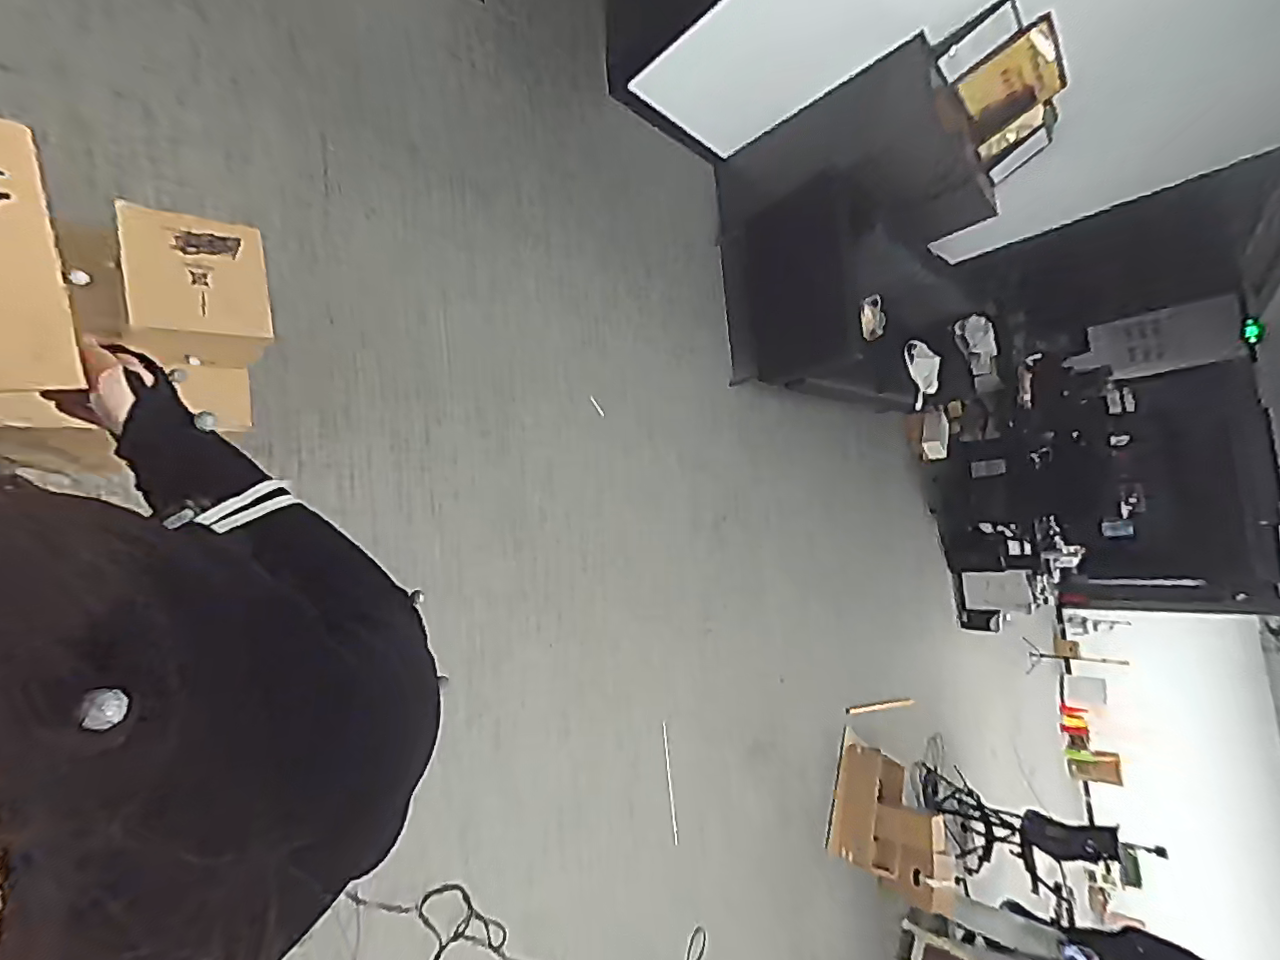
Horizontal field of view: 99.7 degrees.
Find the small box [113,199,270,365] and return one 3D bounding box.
[{"bbox_3d":[-0.697,-0.292,0.839,0.168,0.176,0.179,-6,88,-45],"label":"small box"}]
